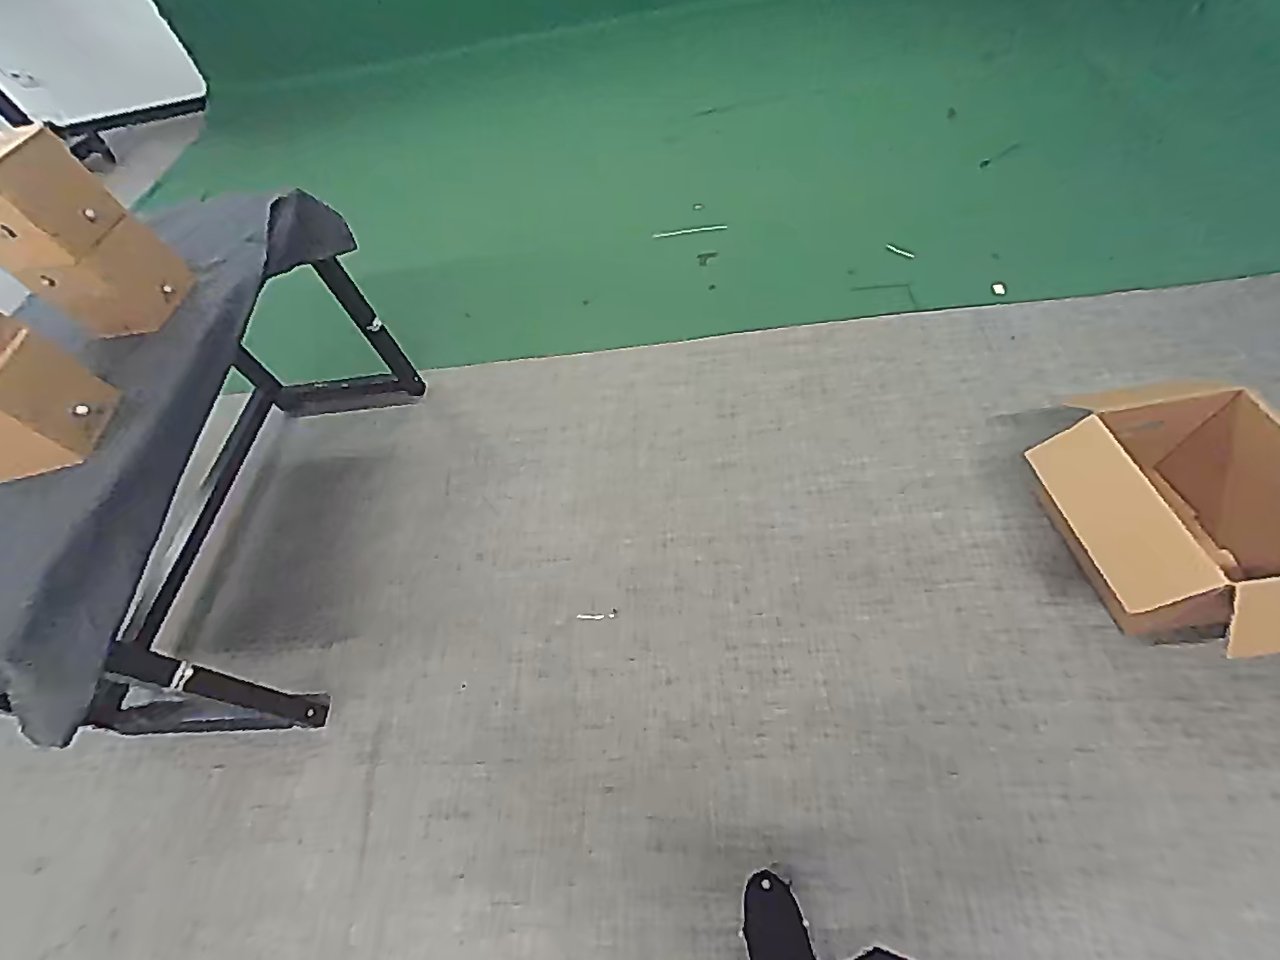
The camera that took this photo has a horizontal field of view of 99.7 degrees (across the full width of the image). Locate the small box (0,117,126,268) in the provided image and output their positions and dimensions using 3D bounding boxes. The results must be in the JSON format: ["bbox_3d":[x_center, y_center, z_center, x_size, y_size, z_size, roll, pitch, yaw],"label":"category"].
[{"bbox_3d":[-1.126,-0.520,0.983,0.168,0.176,0.179,-3,57,8],"label":"small box"}]

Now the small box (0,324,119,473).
[{"bbox_3d":[-1.069,-0.131,0.919,0.179,0.176,0.168,-12,56,1],"label":"small box"}]

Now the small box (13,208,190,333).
[{"bbox_3d":[-1.097,-0.431,1.123,0.168,0.176,0.179,-4,56,8],"label":"small box"}]
